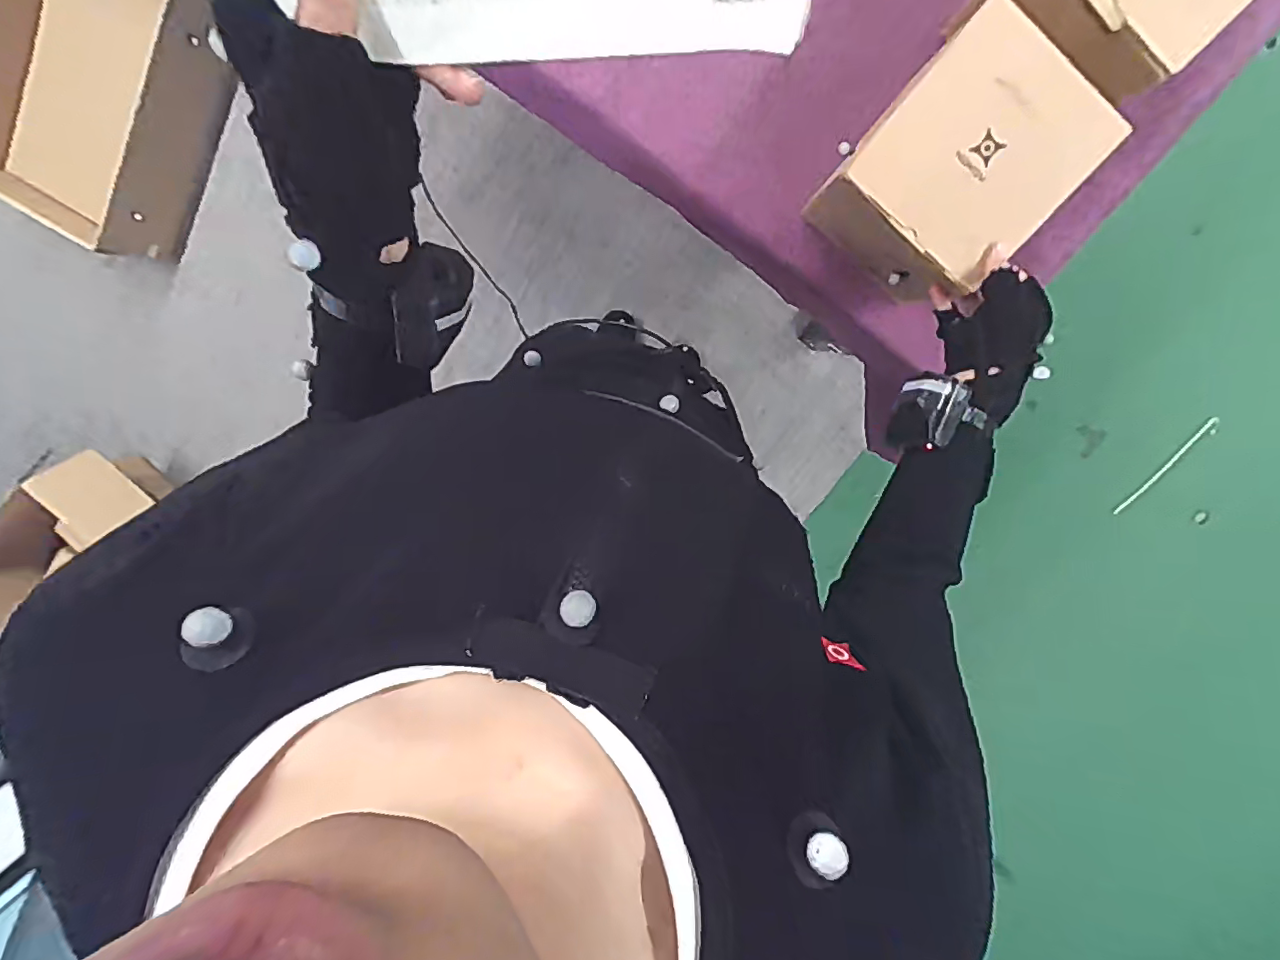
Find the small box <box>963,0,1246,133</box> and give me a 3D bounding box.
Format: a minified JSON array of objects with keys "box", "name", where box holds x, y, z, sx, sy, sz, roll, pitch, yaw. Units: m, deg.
[{"box":[0.432,-0.461,0.486,0.168,0.176,0.179,42,105,-8],"name":"small box"}]
